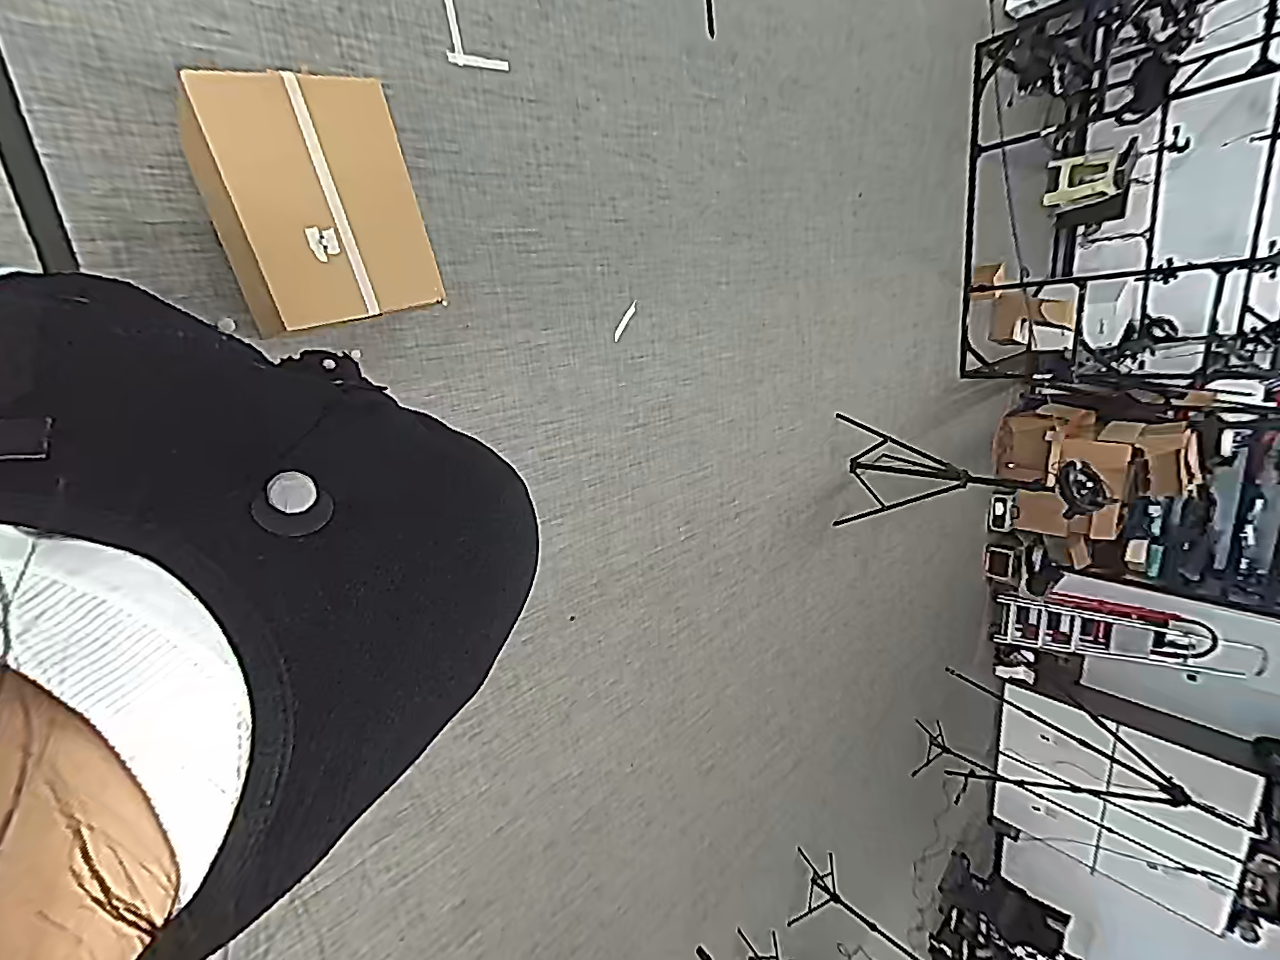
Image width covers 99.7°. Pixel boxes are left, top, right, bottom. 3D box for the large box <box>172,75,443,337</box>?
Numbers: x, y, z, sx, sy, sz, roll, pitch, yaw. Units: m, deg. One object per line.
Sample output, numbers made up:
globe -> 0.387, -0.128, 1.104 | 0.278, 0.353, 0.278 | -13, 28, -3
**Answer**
large box -> -0.669, -0.532, 1.104 | 0.320, 0.320, 0.408 | -27, 116, -35
